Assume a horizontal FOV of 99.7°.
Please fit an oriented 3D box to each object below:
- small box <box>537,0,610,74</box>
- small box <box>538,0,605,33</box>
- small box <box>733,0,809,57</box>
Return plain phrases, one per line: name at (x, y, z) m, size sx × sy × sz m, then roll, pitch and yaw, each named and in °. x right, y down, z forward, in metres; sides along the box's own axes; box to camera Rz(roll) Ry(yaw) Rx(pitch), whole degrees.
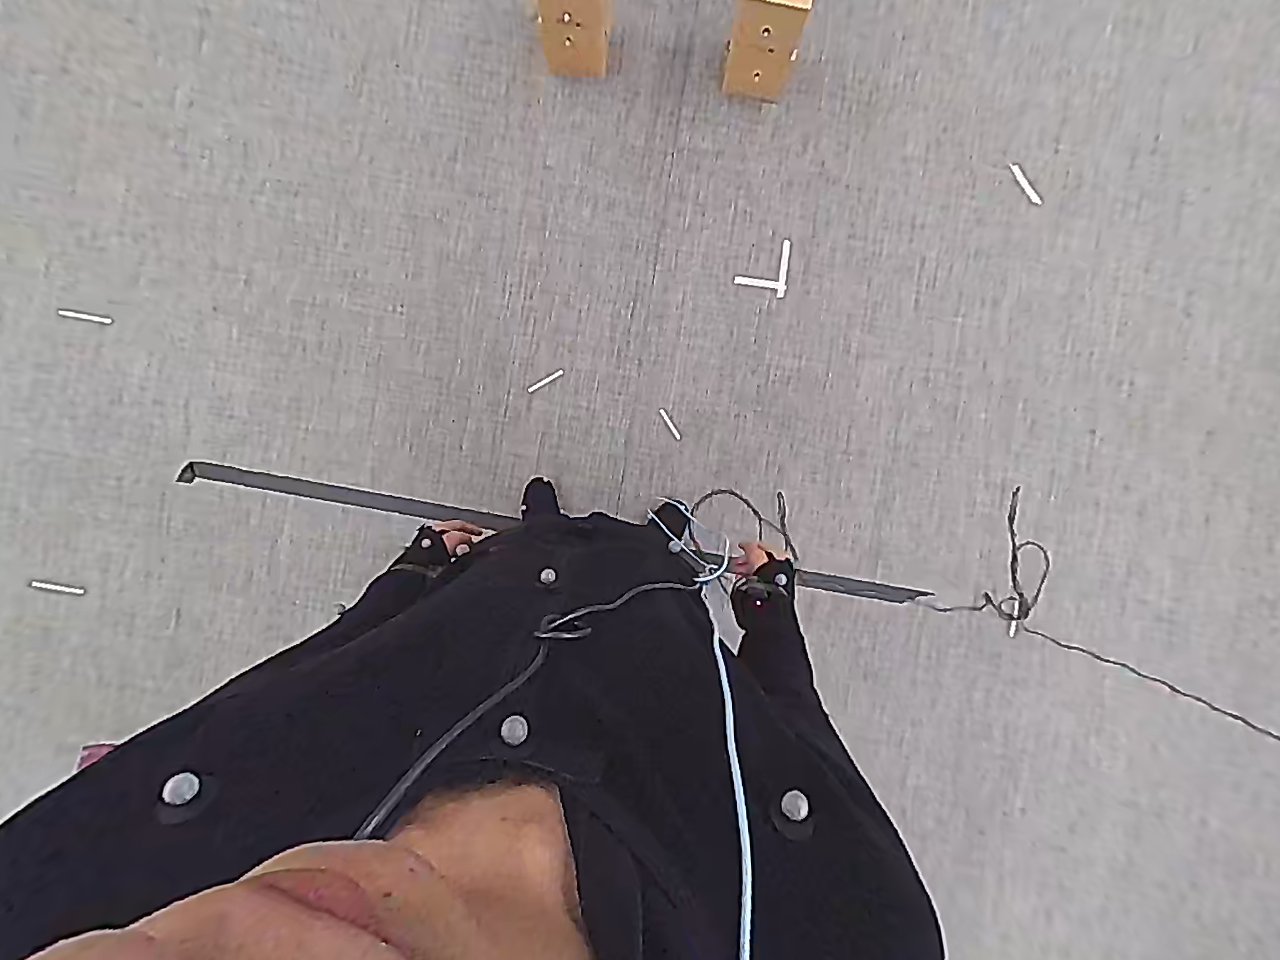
small box at (-0.182, -1.299, 1.534) m, size 0.179 × 0.176 × 0.168 m, roll 8°, pitch 91°, yaw -1°
small box at (-0.173, -1.298, 1.370) m, size 0.168 × 0.176 × 0.179 m, roll 9°, pitch 92°, yaw -1°
small box at (0.342, -1.239, 1.383) m, size 0.168 × 0.176 × 0.179 m, roll 11°, pitch 91°, yaw -2°
